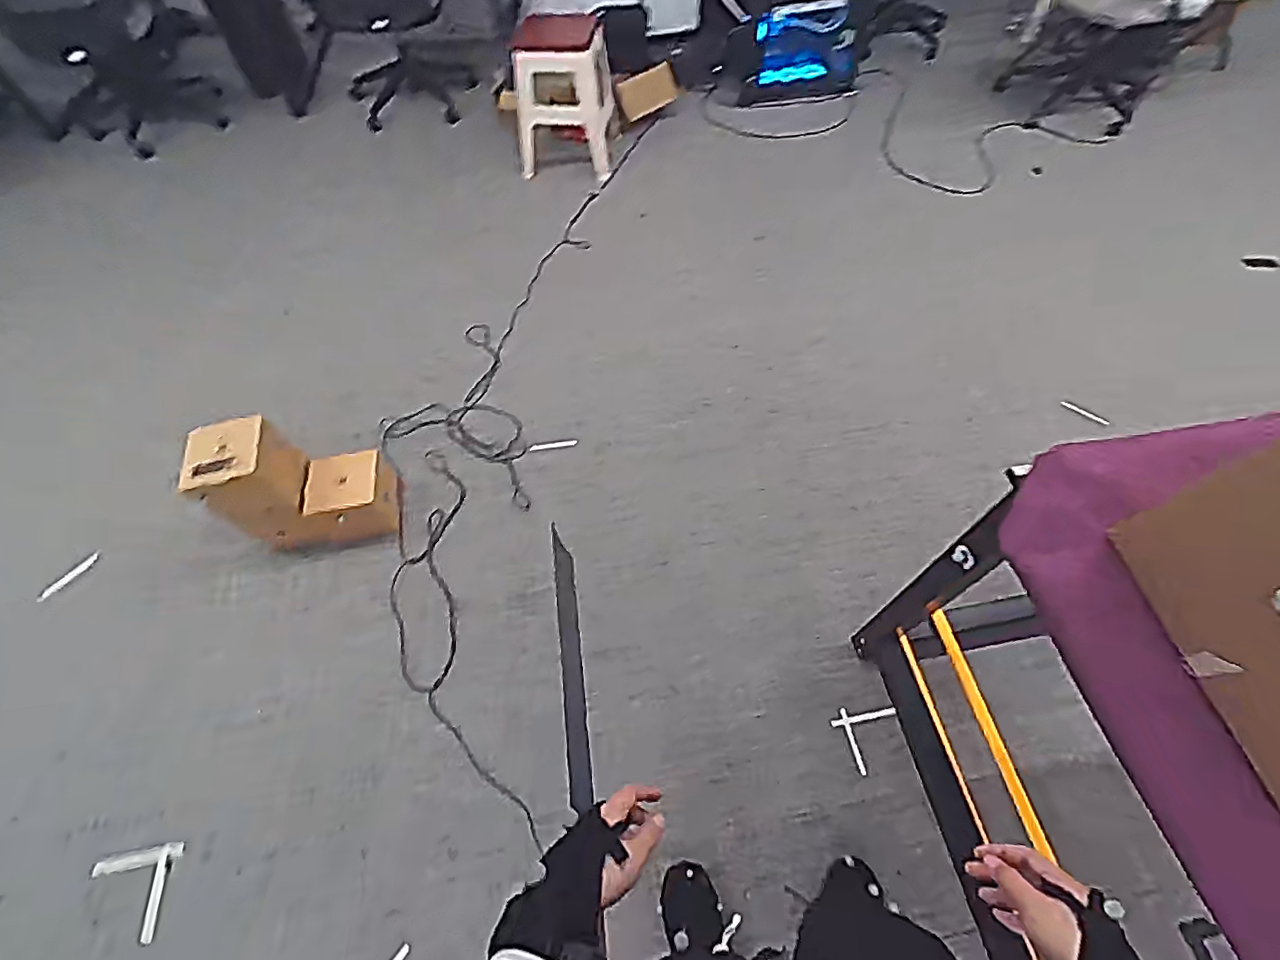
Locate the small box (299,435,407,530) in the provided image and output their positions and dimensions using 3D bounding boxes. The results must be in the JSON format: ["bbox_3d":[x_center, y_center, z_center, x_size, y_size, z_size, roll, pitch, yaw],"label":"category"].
[{"bbox_3d":[-0.737,0.009,1.399,0.168,0.176,0.179,19,70,-3],"label":"small box"}]
